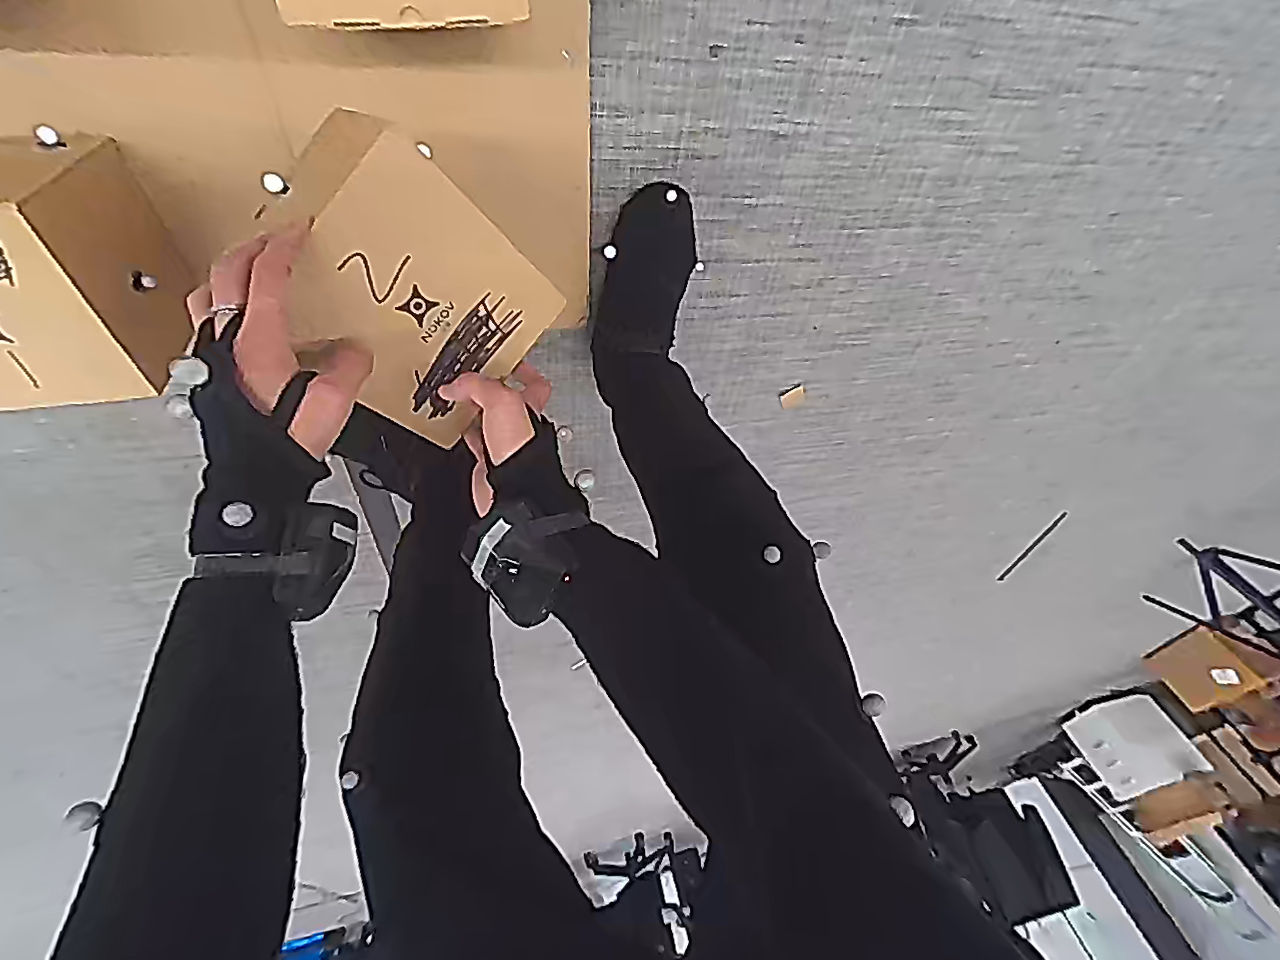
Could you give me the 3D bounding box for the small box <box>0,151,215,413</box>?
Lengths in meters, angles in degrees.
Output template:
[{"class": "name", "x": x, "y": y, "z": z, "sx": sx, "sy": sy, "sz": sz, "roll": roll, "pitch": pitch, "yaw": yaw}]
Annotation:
[{"class": "small box", "x": -0.541, "y": -0.186, "z": 0.495, "sx": 0.168, "sy": 0.176, "sz": 0.179, "roll": -8, "pitch": 138, "yaw": -11}]
